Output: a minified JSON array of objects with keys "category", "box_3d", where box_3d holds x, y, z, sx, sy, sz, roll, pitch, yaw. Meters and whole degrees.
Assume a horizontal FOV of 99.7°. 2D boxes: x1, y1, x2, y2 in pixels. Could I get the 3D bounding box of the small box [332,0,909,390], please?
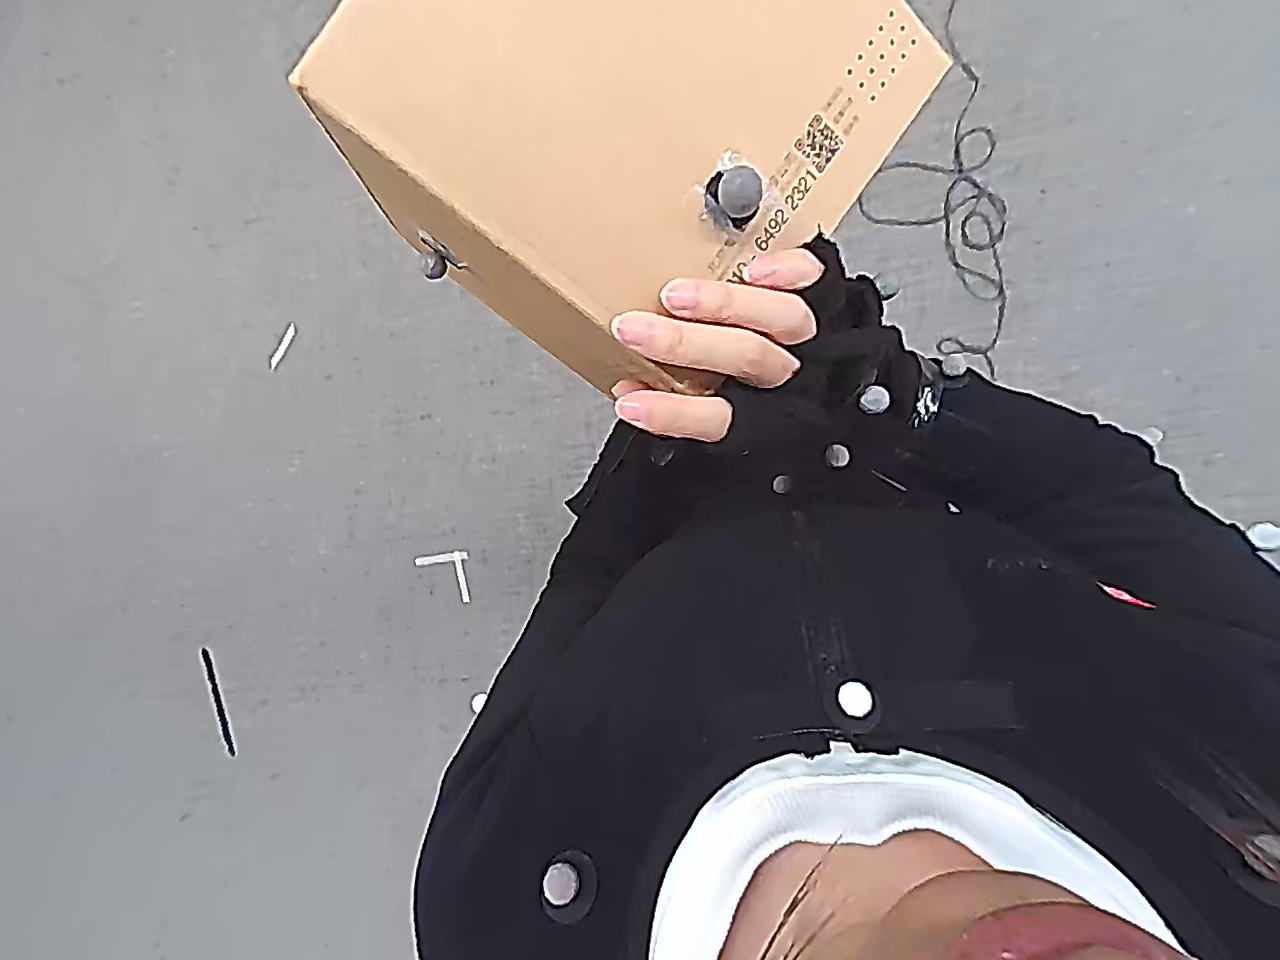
[{"category":"small box","box_3d":[-0.011,-0.160,0.283,0.176,0.179,0.168,35,90,-16]}]
